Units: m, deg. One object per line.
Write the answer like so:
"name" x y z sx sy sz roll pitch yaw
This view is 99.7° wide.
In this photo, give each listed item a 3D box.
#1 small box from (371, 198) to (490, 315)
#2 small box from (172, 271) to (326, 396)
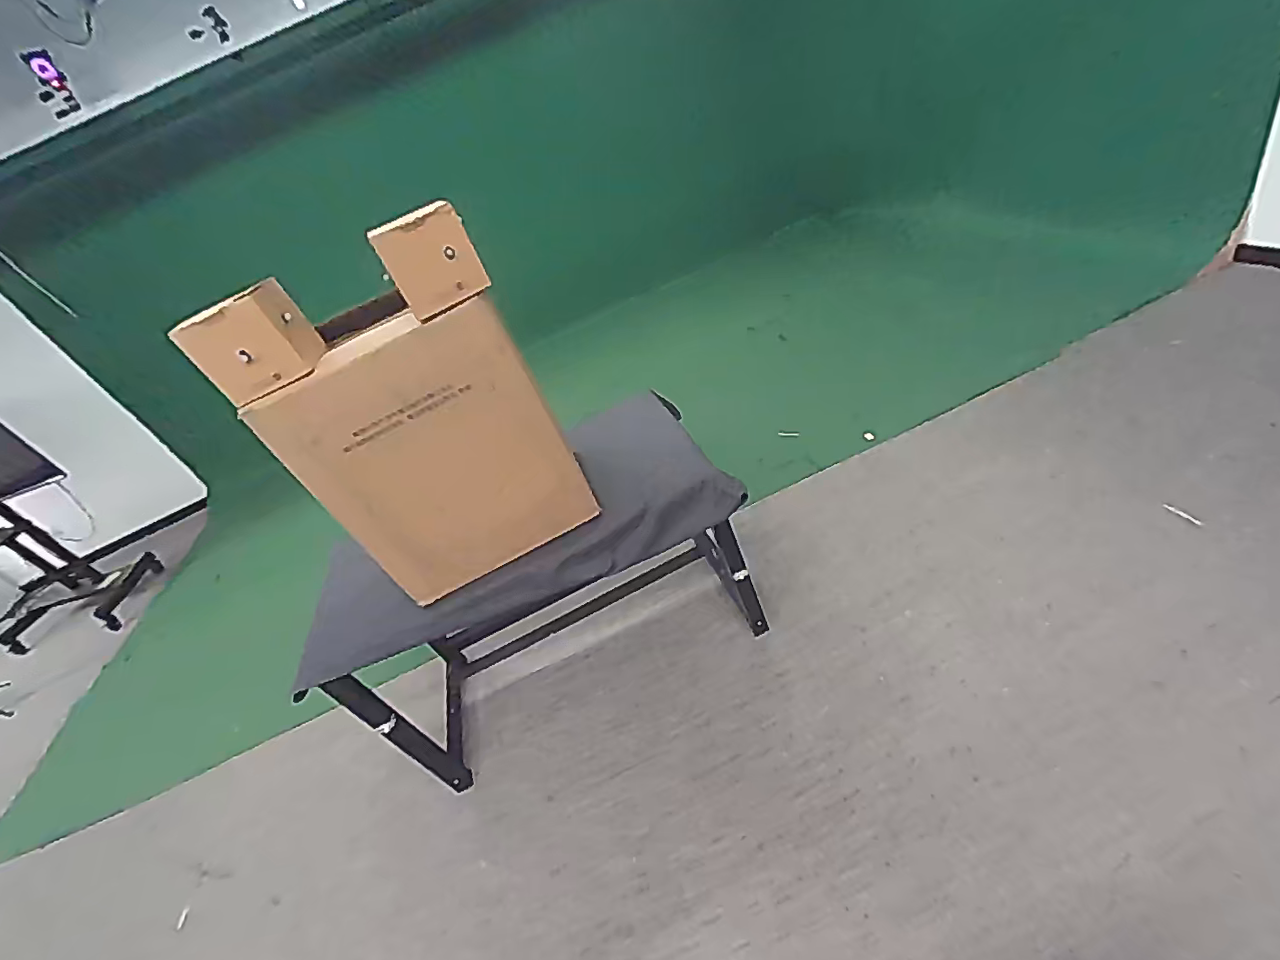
"small box" -0.426 -0.457 1.107 0.168 0.176 0.179 -29 34 -11
"small box" -0.774 -0.293 1.096 0.168 0.176 0.179 -27 36 -2
